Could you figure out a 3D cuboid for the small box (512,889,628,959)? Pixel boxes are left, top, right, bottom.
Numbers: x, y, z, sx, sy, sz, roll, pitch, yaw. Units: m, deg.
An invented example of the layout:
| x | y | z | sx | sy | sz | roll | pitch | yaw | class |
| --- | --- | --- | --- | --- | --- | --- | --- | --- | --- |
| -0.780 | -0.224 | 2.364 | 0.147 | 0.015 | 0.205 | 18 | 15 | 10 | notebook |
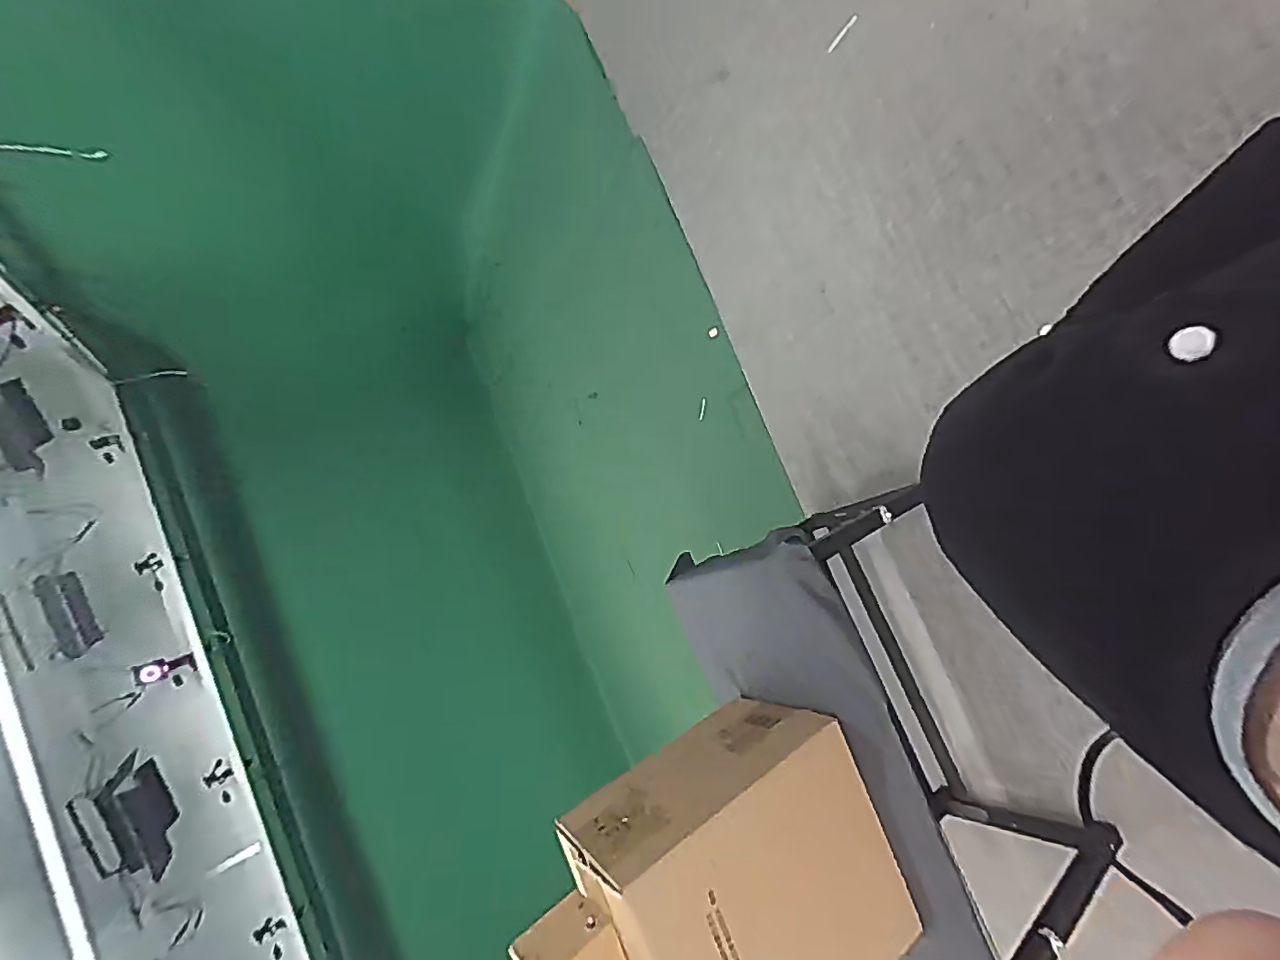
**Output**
| x | y | z | sx | sy | sz | roll | pitch | yaw | class |
| --- | --- | --- | --- | --- | --- | --- | --- | --- | --- |
| -0.127 | 0.980 | 1.083 | 0.168 | 0.176 | 0.179 | -24 | 88 | 55 | small box |
